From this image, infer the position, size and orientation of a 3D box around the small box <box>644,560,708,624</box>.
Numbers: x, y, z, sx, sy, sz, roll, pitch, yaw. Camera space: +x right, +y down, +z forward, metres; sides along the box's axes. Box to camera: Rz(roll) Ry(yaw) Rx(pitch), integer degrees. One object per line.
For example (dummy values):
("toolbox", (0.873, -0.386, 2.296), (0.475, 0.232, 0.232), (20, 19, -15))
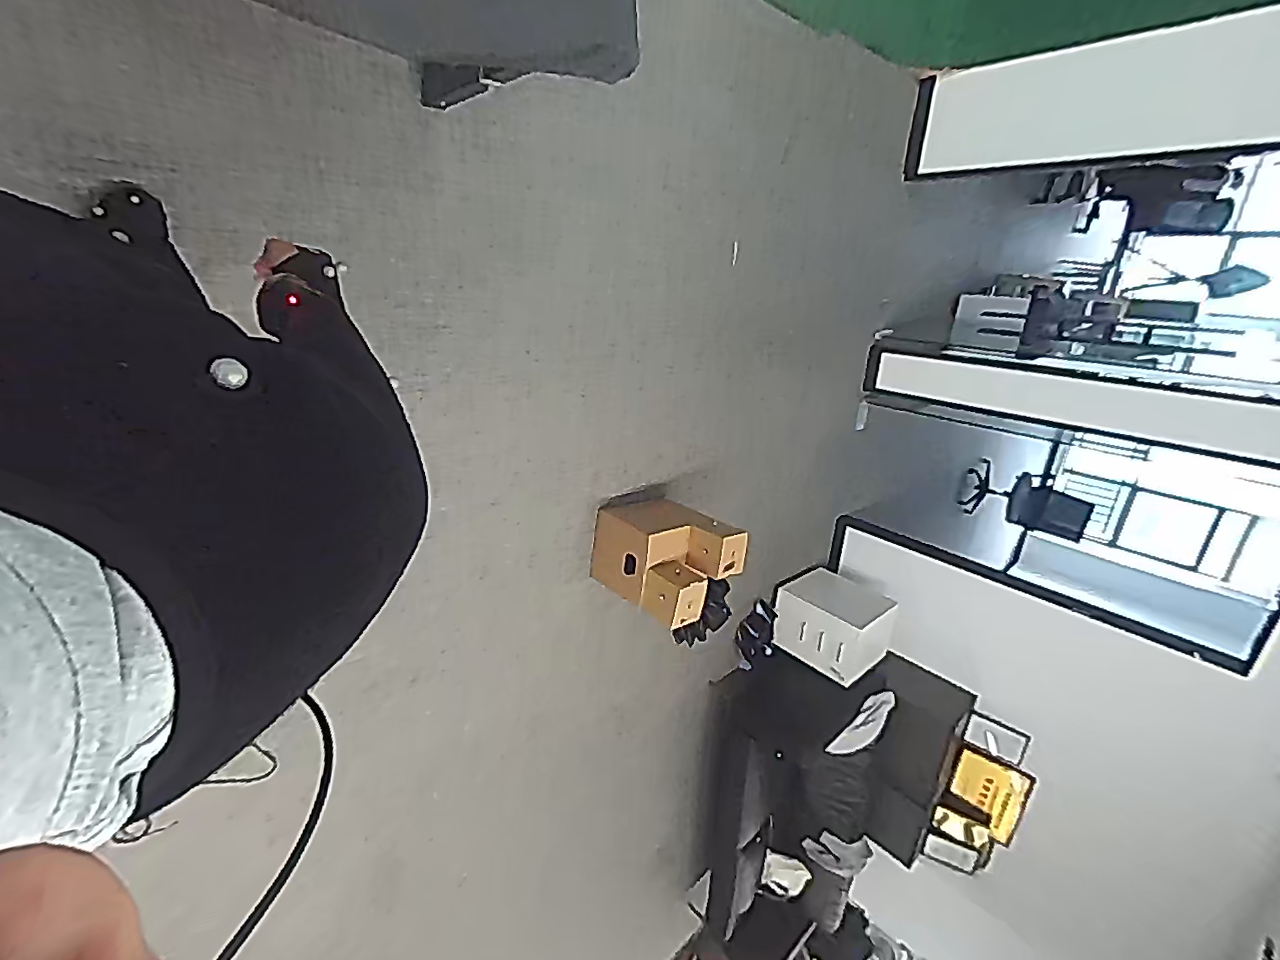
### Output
("small box", (0.134, 0.420, 2.074), (0.168, 0.176, 0.179), (-8, 113, -45))

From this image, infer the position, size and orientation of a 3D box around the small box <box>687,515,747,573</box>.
("small box", (0.306, 0.254, 2.184), (0.168, 0.176, 0.179), (-7, 108, -44))
